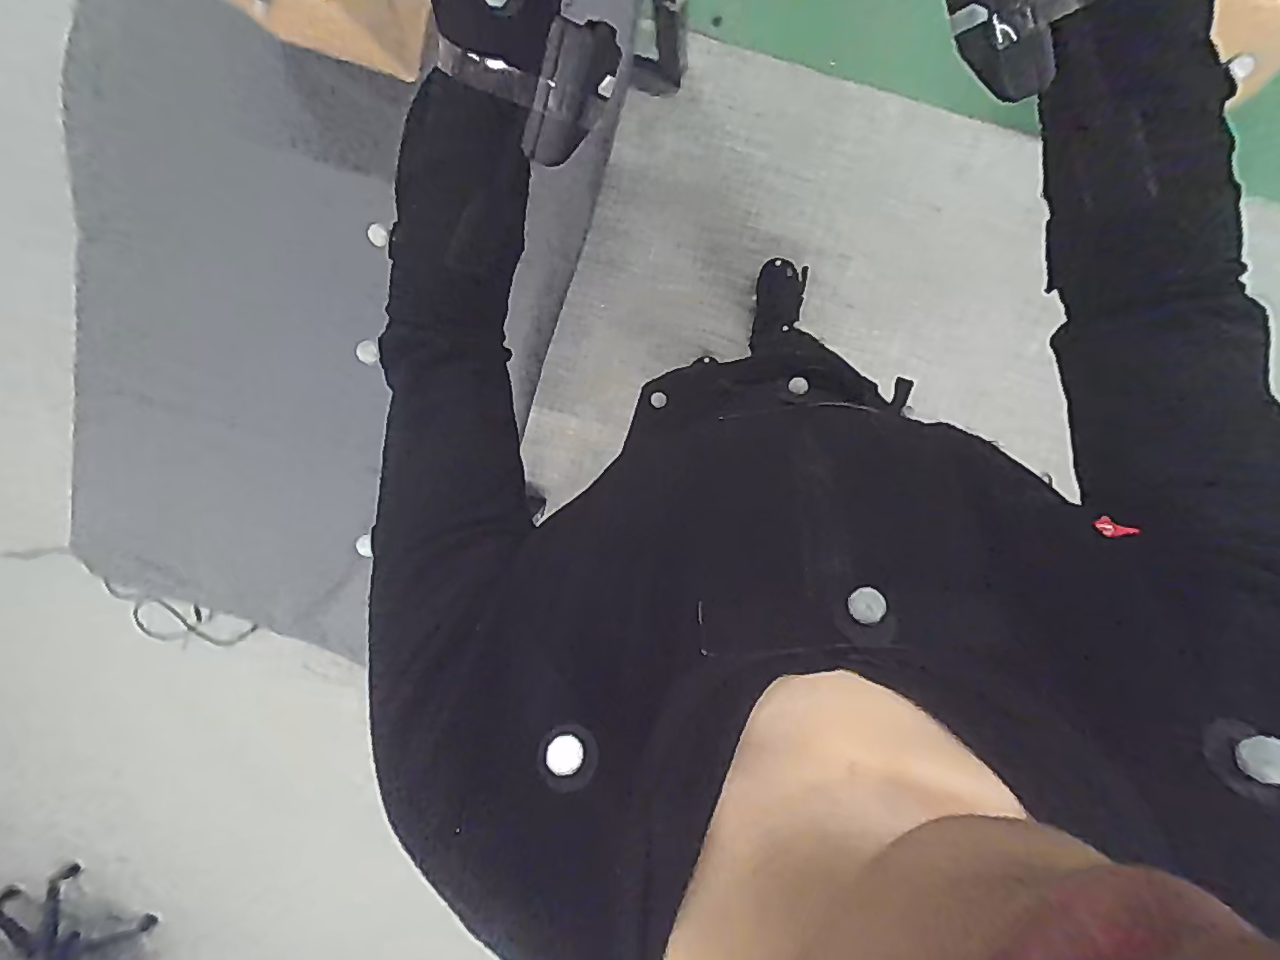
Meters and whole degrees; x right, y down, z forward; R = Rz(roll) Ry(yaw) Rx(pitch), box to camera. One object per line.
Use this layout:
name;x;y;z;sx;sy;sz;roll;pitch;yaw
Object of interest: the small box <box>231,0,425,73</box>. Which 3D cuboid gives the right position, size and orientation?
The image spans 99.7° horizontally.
small box;-0.325;-0.547;0.537;0.179;0.176;0.168;18;107;1
